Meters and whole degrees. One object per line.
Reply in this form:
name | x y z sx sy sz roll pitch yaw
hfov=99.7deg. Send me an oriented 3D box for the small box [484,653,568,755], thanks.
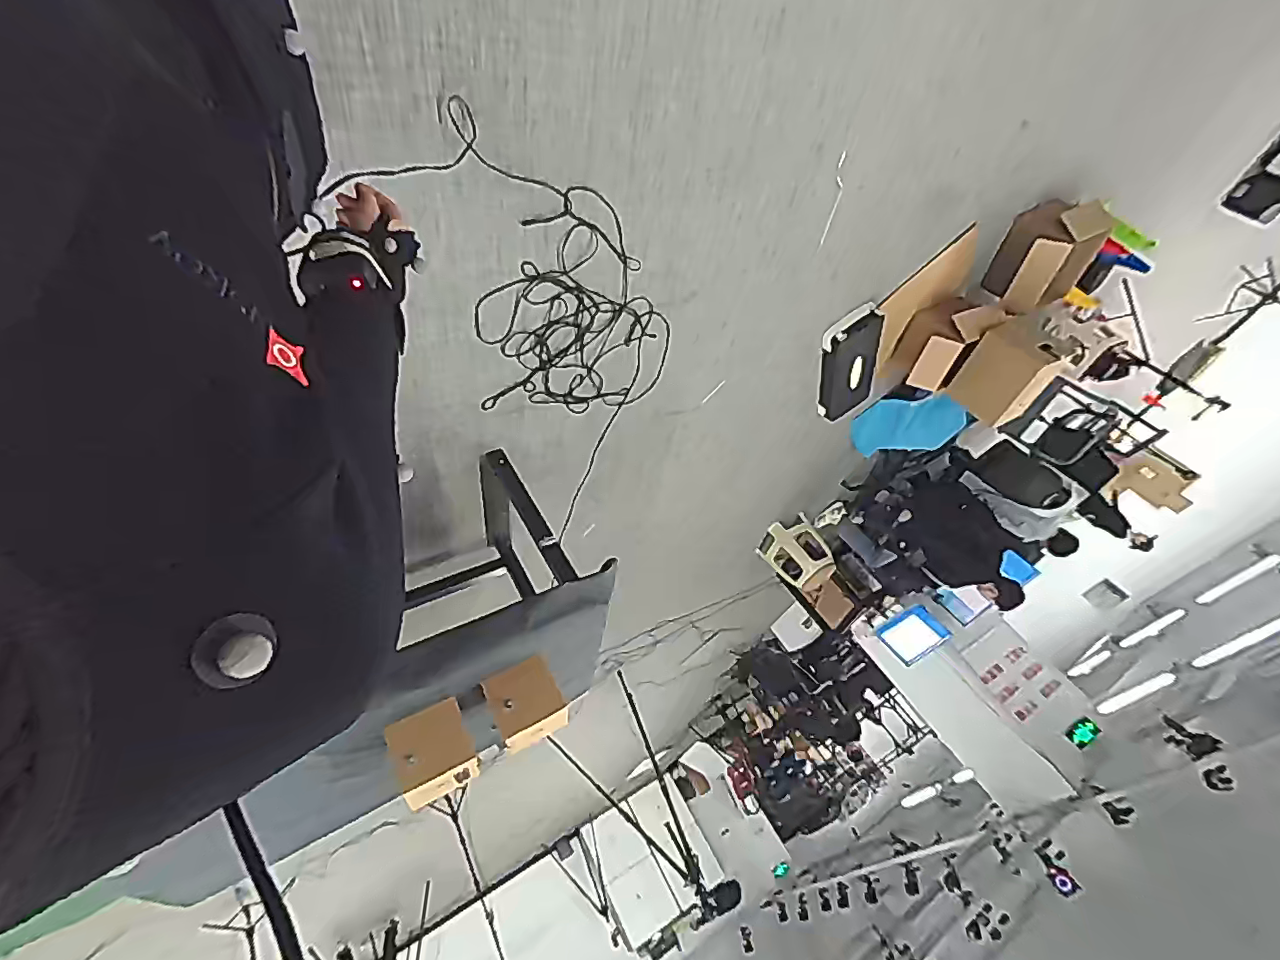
small box | -0.312 0.605 1.471 0.179 0.176 0.168 -23 147 -24
